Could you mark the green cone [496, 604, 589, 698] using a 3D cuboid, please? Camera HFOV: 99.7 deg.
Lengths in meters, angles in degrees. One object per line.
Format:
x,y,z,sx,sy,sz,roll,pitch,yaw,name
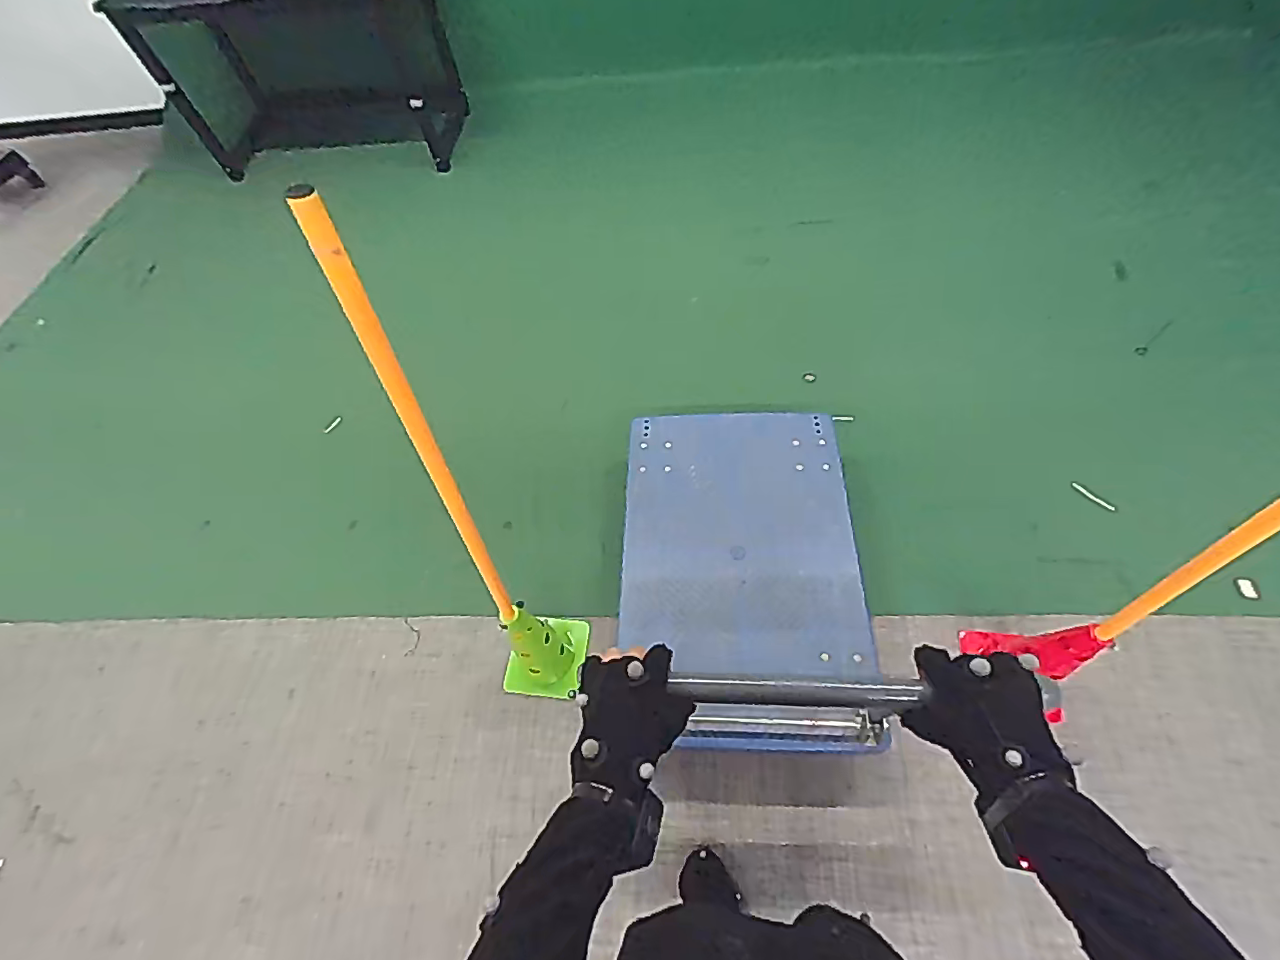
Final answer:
-0.259,0.371,1.282,0.202,0.368,0.200,3,58,8,green cone
